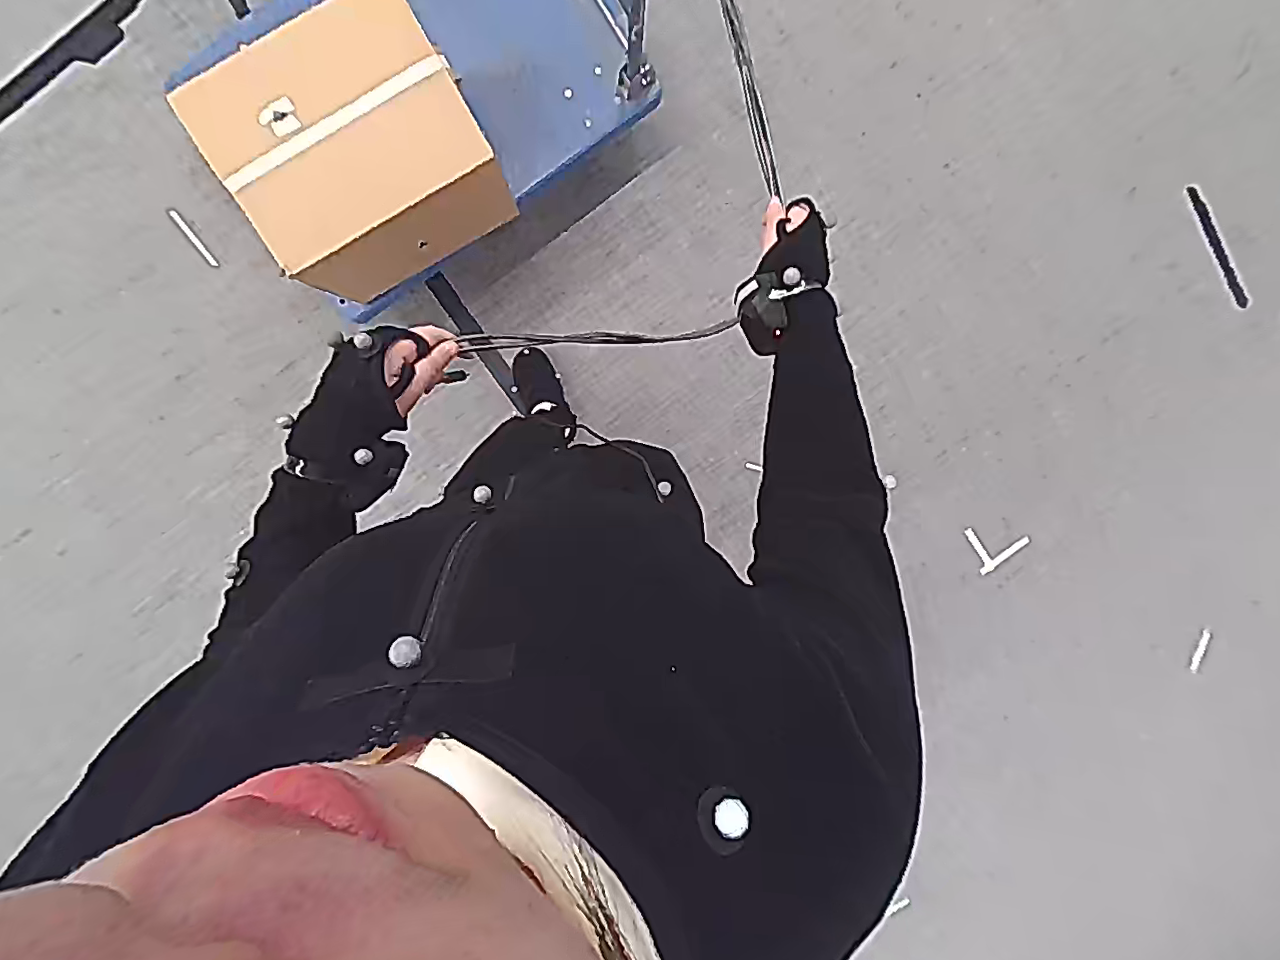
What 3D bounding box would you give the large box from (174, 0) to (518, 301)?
[{"bbox_3d":[-0.494,-0.590,1.010,0.408,0.320,0.320,-30,100,1],"label":"large box"}]
